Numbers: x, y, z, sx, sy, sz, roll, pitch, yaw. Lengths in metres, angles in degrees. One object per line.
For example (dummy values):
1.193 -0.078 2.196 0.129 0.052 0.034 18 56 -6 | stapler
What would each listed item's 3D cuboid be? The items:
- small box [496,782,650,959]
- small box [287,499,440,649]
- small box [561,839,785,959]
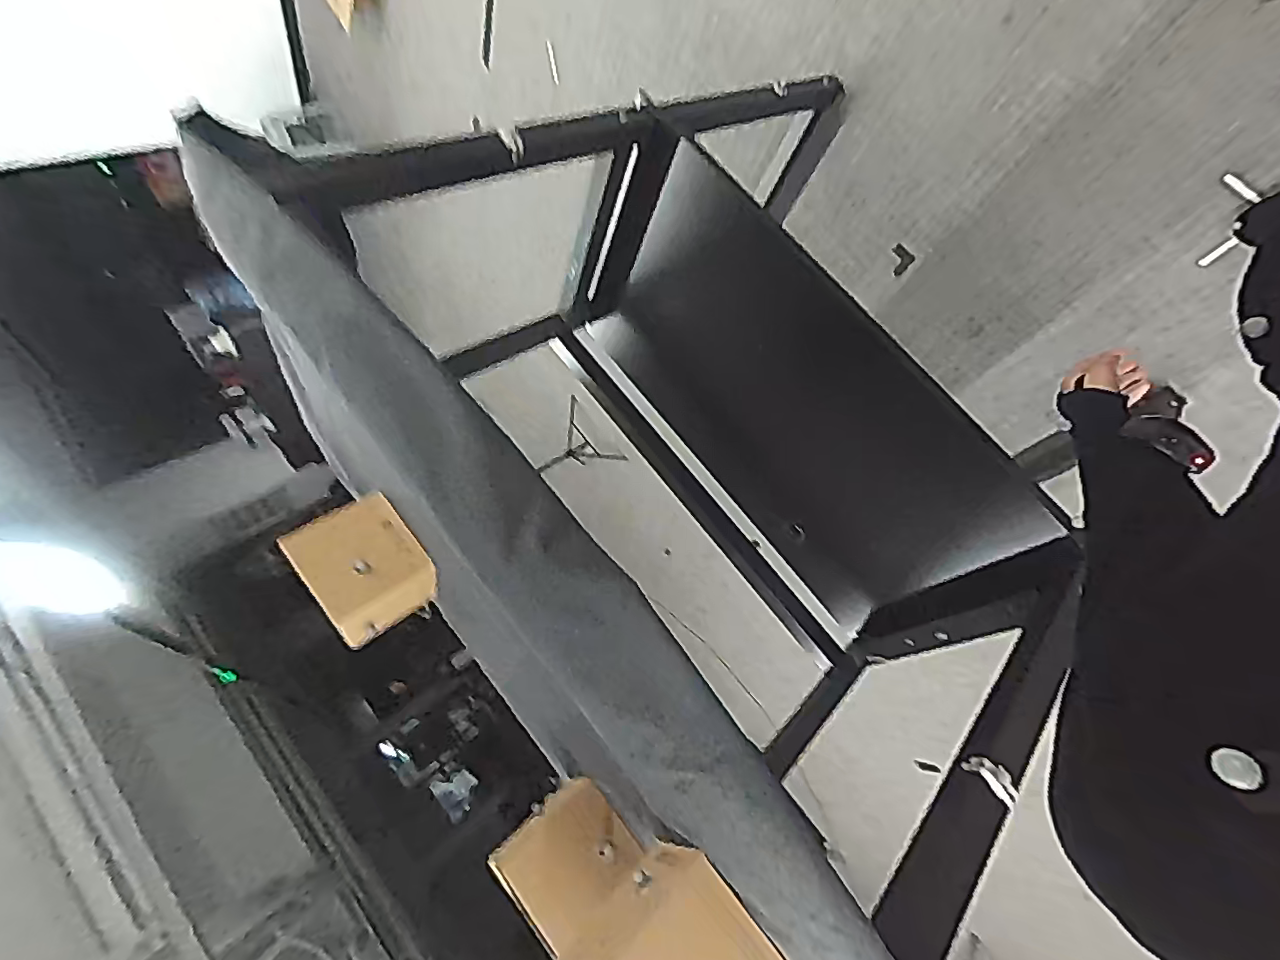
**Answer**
-0.095 0.589 0.824 0.179 0.176 0.168 50 148 12 | small box
-0.464 0.160 0.937 0.168 0.176 0.179 49 148 11 | small box
0.044 0.524 0.565 0.179 0.176 0.168 48 149 14 | small box
